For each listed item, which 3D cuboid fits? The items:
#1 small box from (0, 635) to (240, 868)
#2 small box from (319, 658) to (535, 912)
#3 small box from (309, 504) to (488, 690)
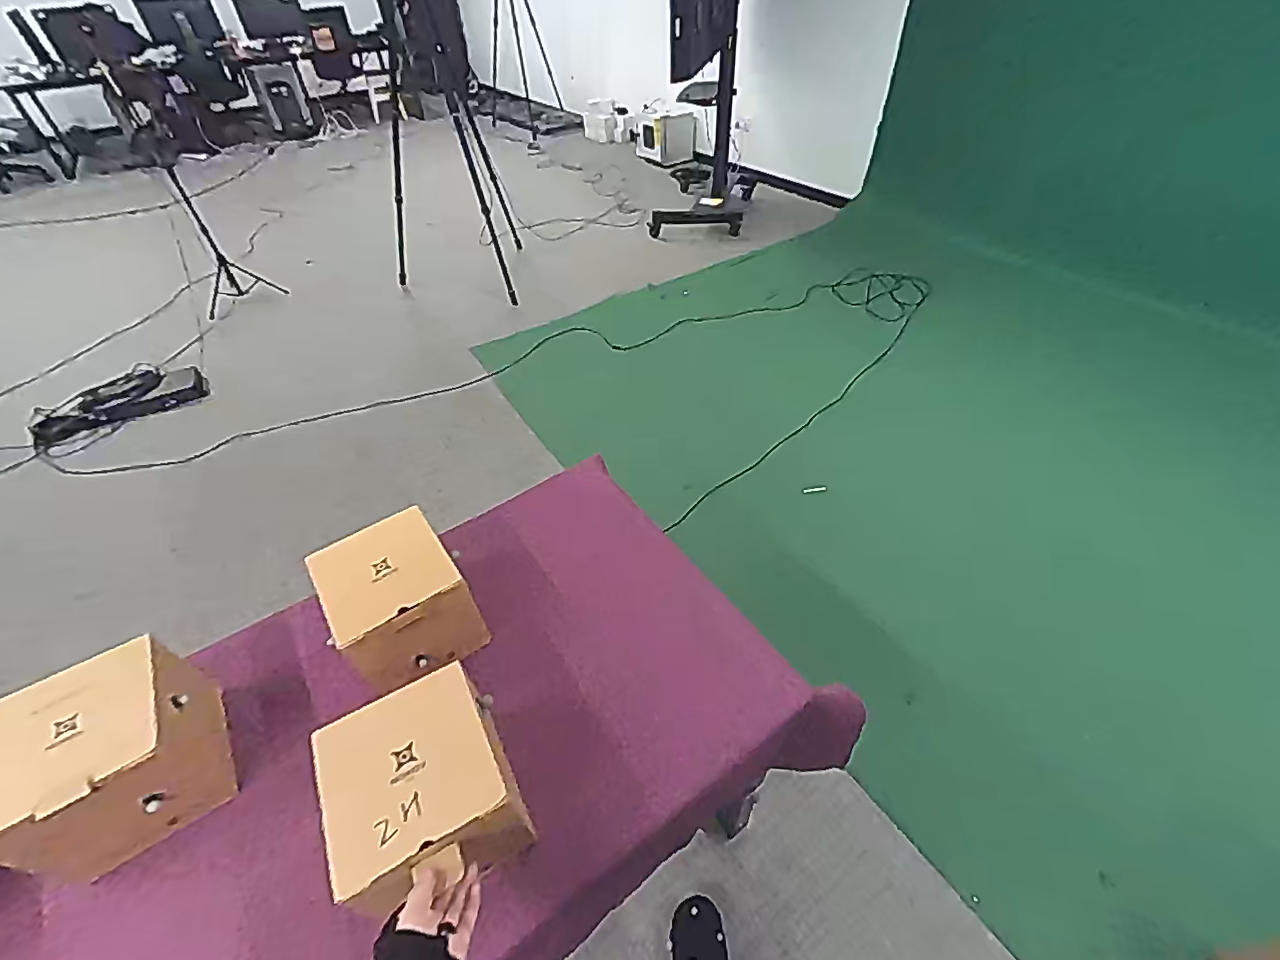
[{"bbox_3d":[-0.627,0.334,0.660,0.168,0.176,0.179,-27,50,-23],"label":"small box"},{"bbox_3d":[-0.237,0.348,0.621,0.168,0.176,0.179,-24,49,-19],"label":"small box"},{"bbox_3d":[-0.349,0.175,0.800,0.168,0.176,0.179,-30,52,-24],"label":"small box"}]
